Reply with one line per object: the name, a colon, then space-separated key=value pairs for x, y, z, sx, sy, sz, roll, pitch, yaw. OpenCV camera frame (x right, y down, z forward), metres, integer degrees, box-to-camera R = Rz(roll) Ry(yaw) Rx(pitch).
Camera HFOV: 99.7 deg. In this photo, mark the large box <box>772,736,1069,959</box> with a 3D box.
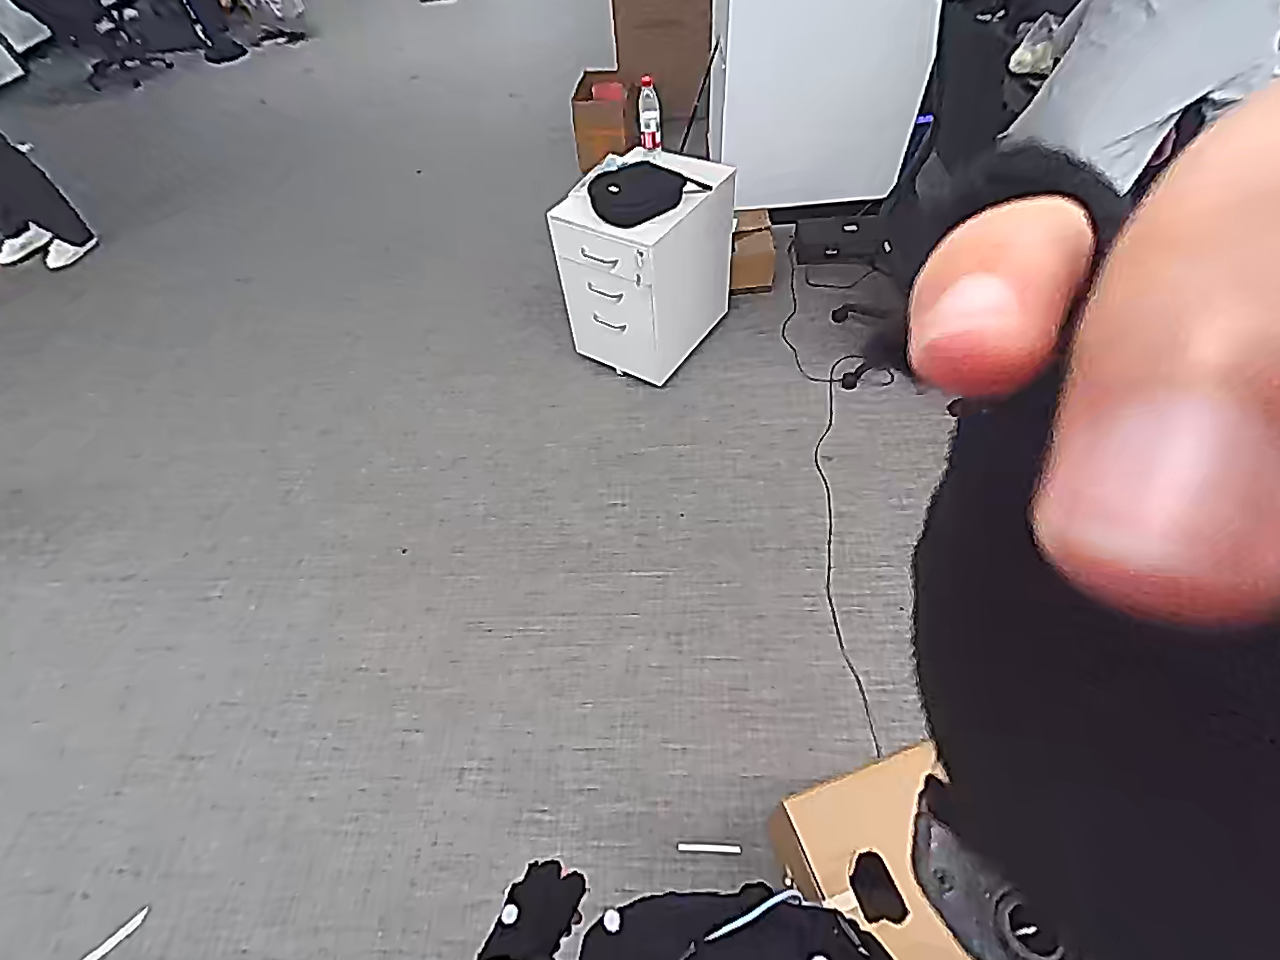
large box: x=0.464 y=0.727 z=1.004 sx=0.320 sy=0.408 sz=0.320 roll=-19 pitch=53 yaw=-5
